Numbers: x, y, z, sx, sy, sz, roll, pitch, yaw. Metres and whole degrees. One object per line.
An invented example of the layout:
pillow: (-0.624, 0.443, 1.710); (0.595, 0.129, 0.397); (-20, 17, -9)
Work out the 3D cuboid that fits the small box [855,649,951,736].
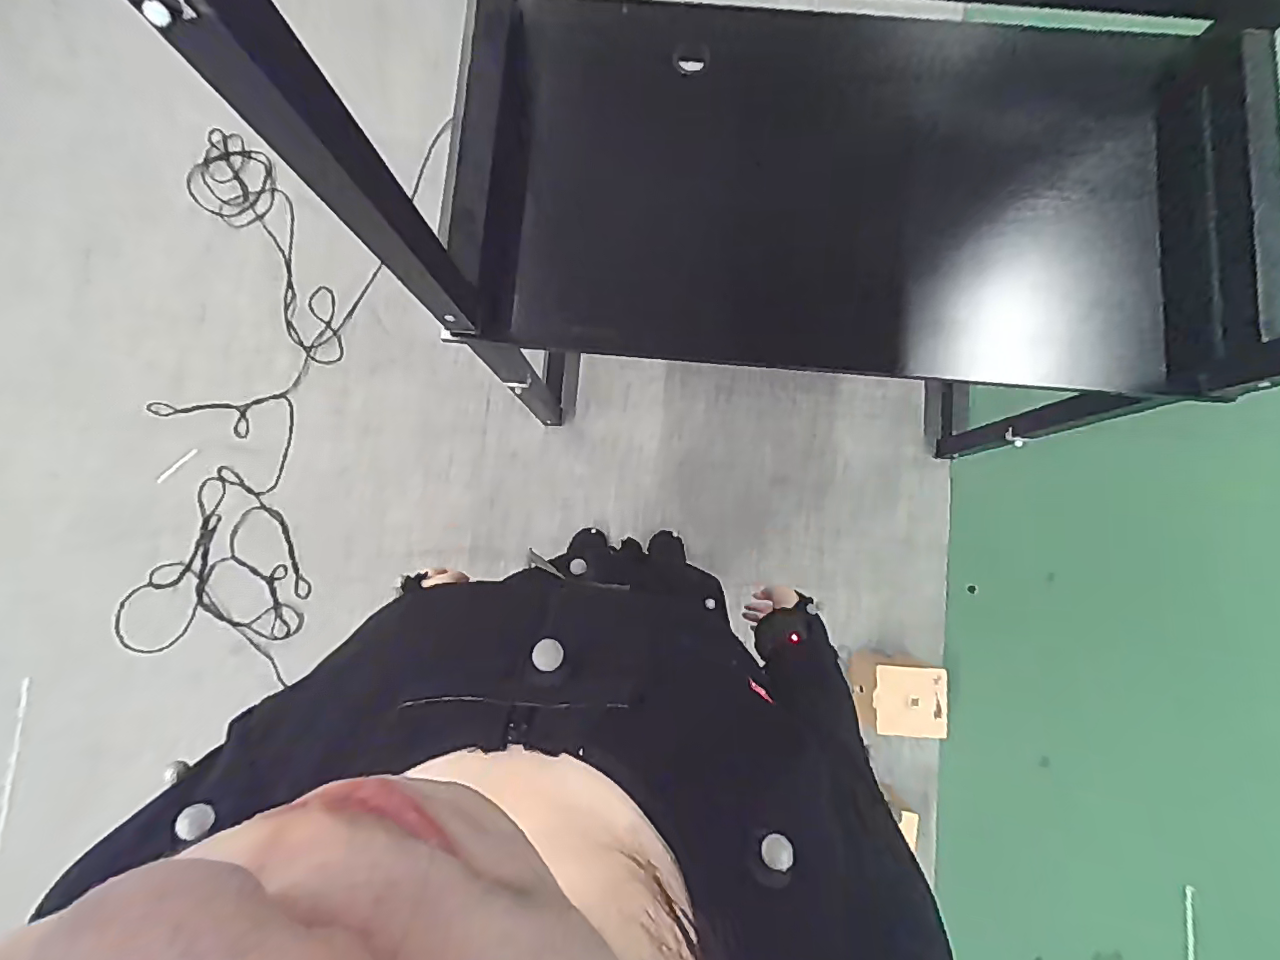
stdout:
small box: (0.663, 0.534, 1.383); (0.179, 0.176, 0.168); (4, 84, 2)
